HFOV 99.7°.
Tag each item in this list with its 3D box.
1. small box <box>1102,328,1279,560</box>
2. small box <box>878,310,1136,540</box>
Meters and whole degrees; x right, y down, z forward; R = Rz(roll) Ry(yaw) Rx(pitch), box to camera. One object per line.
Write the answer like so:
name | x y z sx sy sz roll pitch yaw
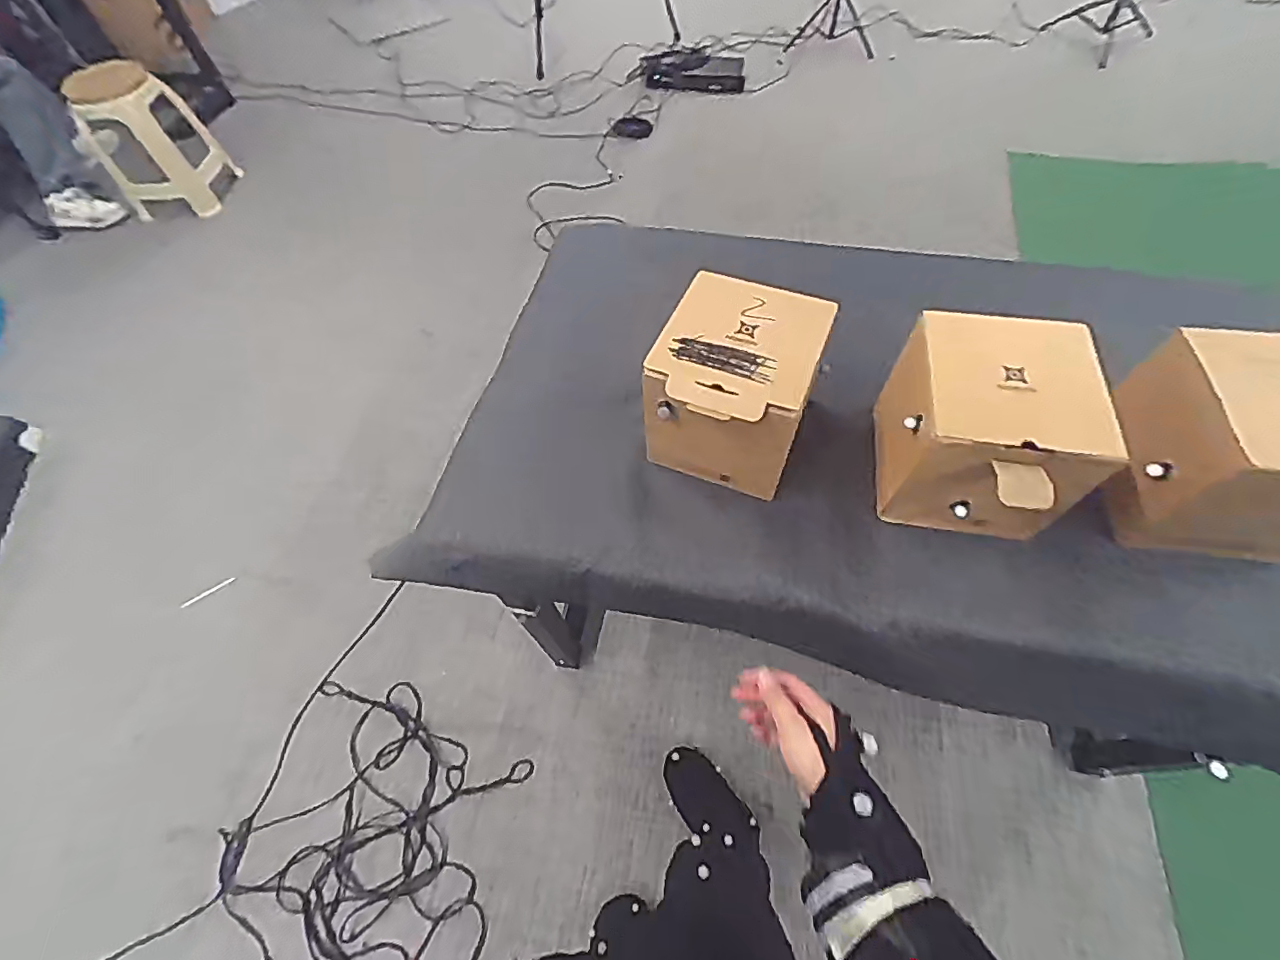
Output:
small box | 0.622 -0.031 0.565 0.168 0.176 0.179 6 58 5
small box | 0.373 -0.057 0.594 0.168 0.176 0.179 8 60 7
